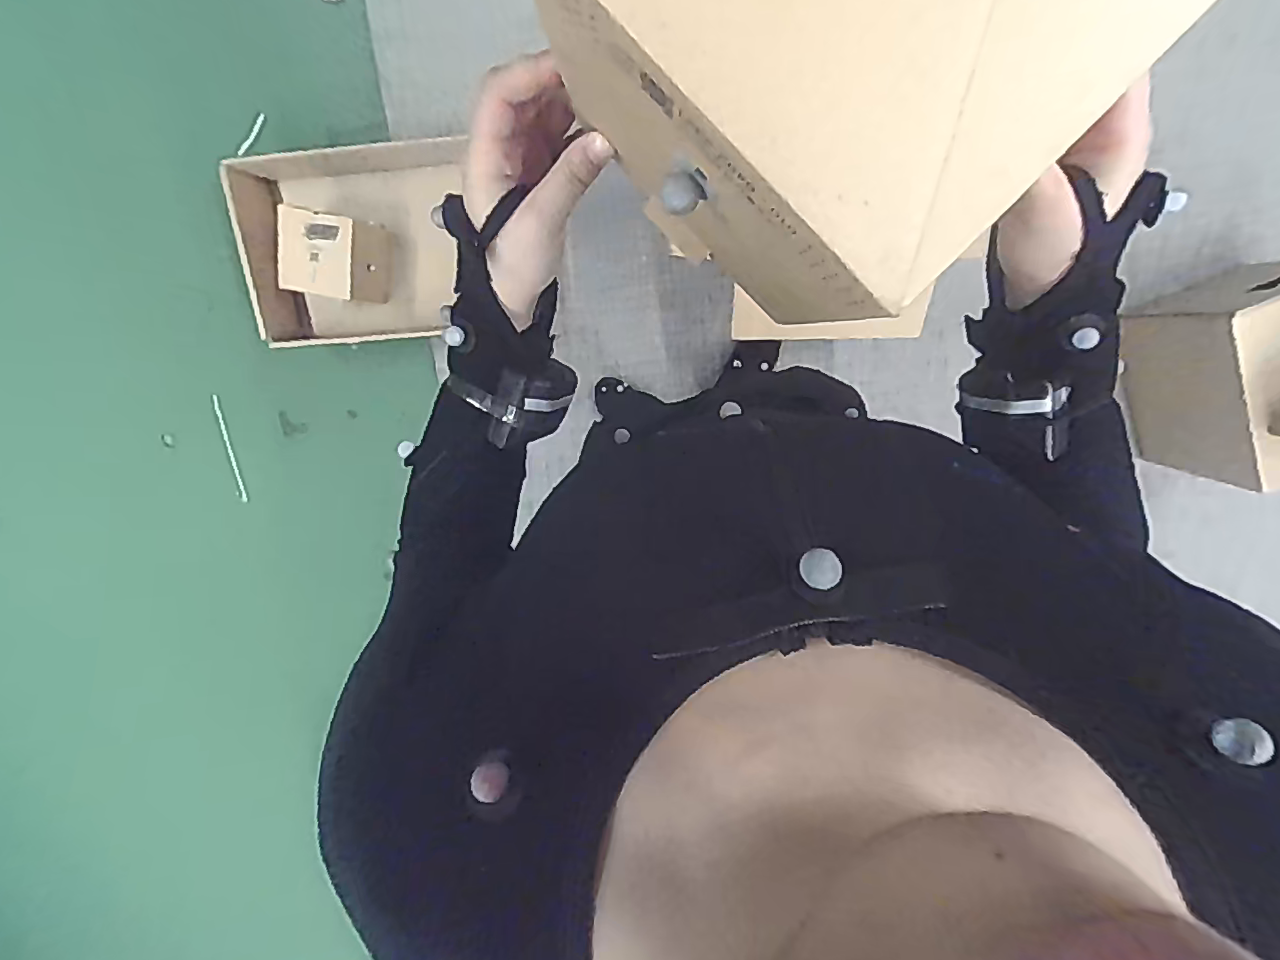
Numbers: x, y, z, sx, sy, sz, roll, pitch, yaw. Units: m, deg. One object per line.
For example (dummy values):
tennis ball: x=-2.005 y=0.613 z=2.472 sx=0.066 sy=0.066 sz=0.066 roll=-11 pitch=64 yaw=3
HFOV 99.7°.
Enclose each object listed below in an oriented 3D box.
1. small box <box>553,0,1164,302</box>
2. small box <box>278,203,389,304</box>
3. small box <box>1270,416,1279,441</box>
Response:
small box: x=0.083 y=-0.198 z=0.222 sx=0.168 sy=0.176 sz=0.179 roll=42 pitch=101 yaw=-8
small box: x=-0.705 y=-0.519 z=1.260 sx=0.168 sy=0.176 sz=0.179 roll=11 pitch=105 yaw=-1
small box: x=1.372 y=-0.118 z=1.004 sx=0.179 sy=0.176 sz=0.168 roll=17 pitch=106 yaw=0
